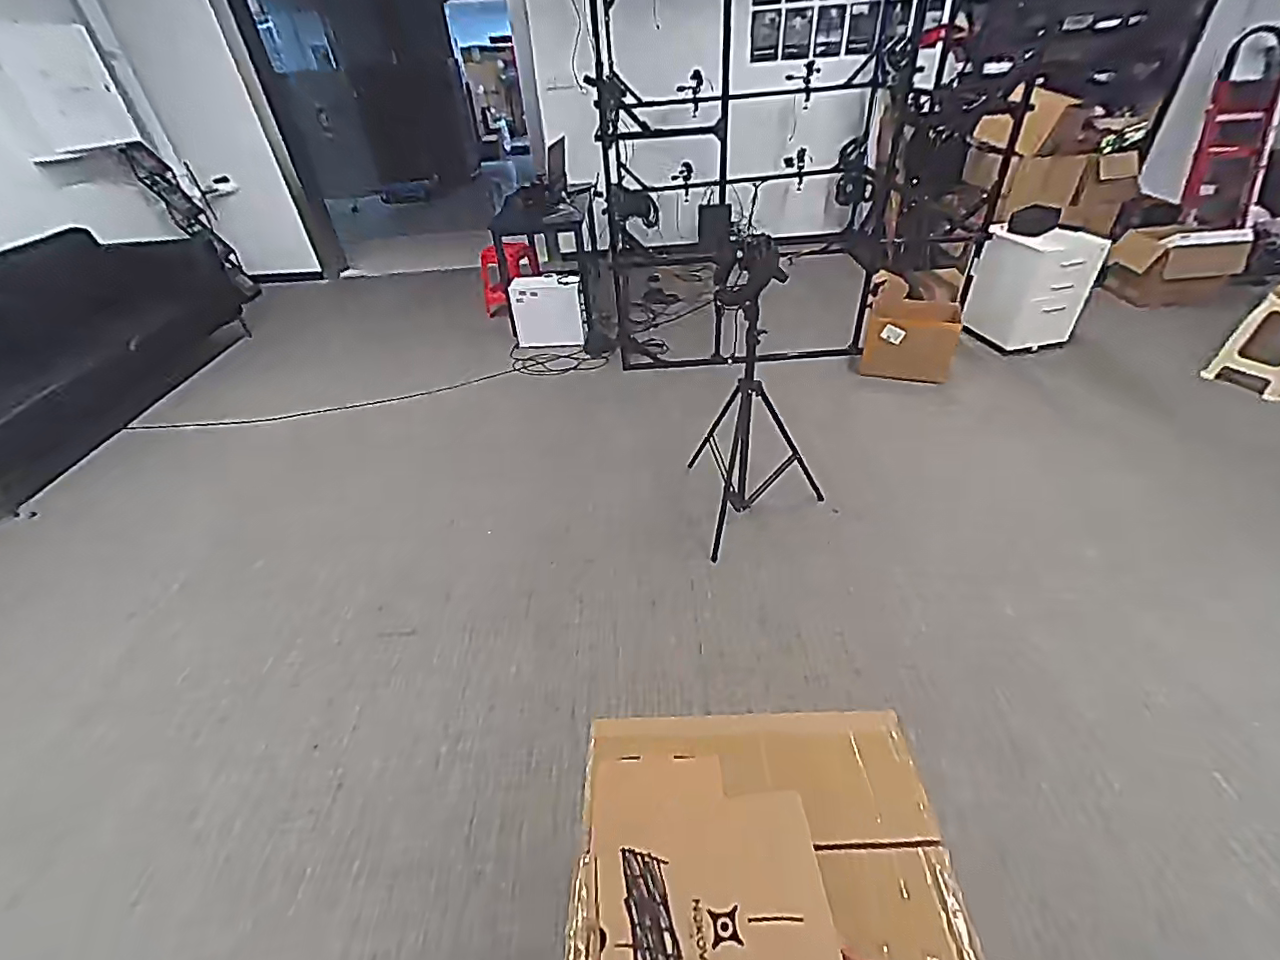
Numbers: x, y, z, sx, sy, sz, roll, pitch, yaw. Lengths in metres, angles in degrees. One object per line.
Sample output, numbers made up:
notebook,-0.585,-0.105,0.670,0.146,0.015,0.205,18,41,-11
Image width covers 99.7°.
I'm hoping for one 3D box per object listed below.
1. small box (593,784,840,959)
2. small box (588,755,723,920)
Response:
small box,0.059,0.382,0.459,0.179,0.176,0.168,-7,45,0
small box,0.029,0.487,0.709,0.168,0.176,0.179,-3,41,3
